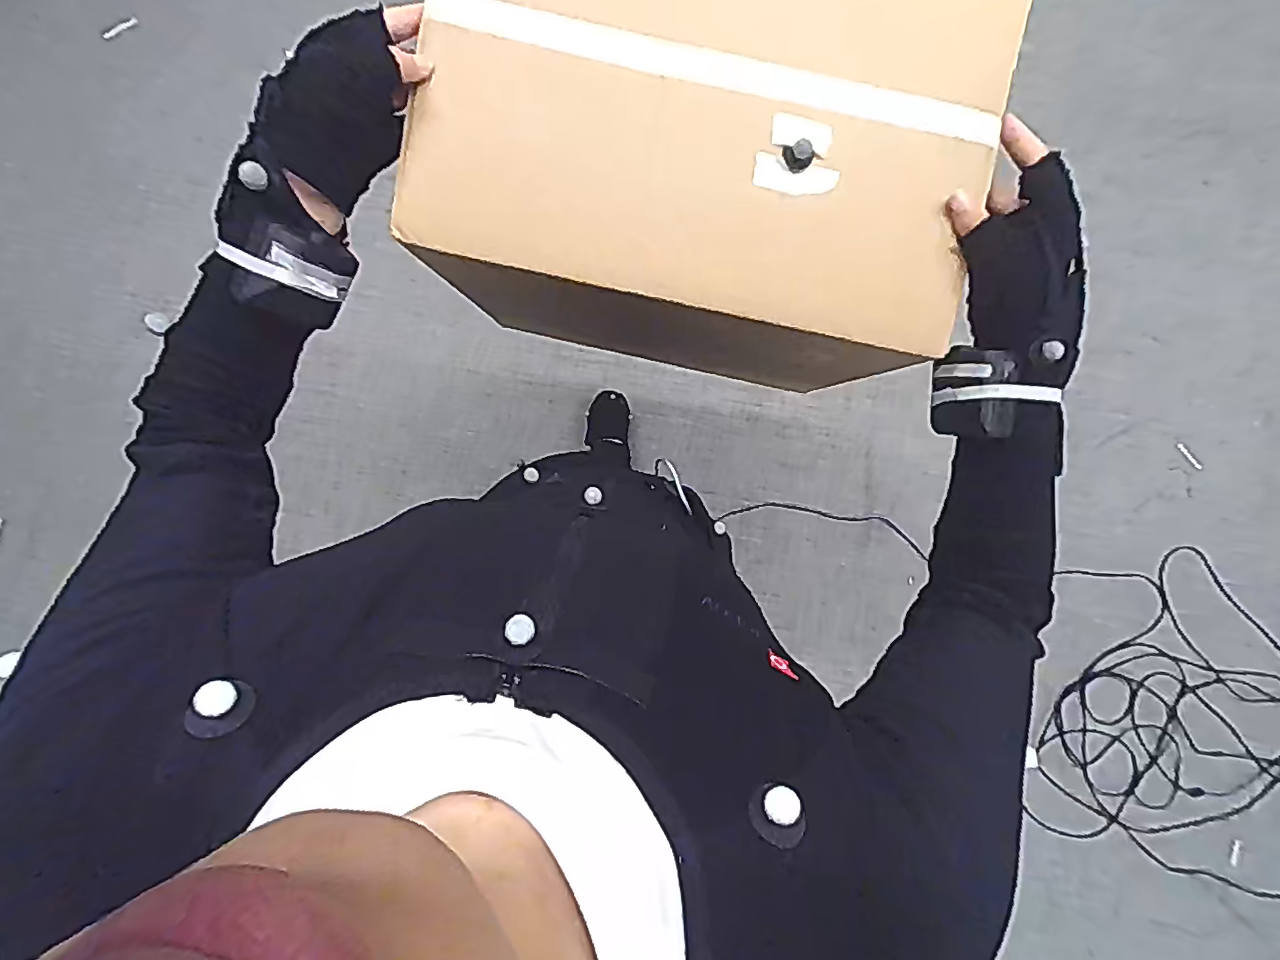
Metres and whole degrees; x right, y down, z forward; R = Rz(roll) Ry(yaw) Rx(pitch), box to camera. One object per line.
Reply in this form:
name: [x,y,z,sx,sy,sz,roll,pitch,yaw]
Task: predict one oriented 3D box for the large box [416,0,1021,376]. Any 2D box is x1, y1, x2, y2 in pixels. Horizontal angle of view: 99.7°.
large box: [0.055,-0.305,0.532,0.408,0.320,0.320,12,96,-2]
